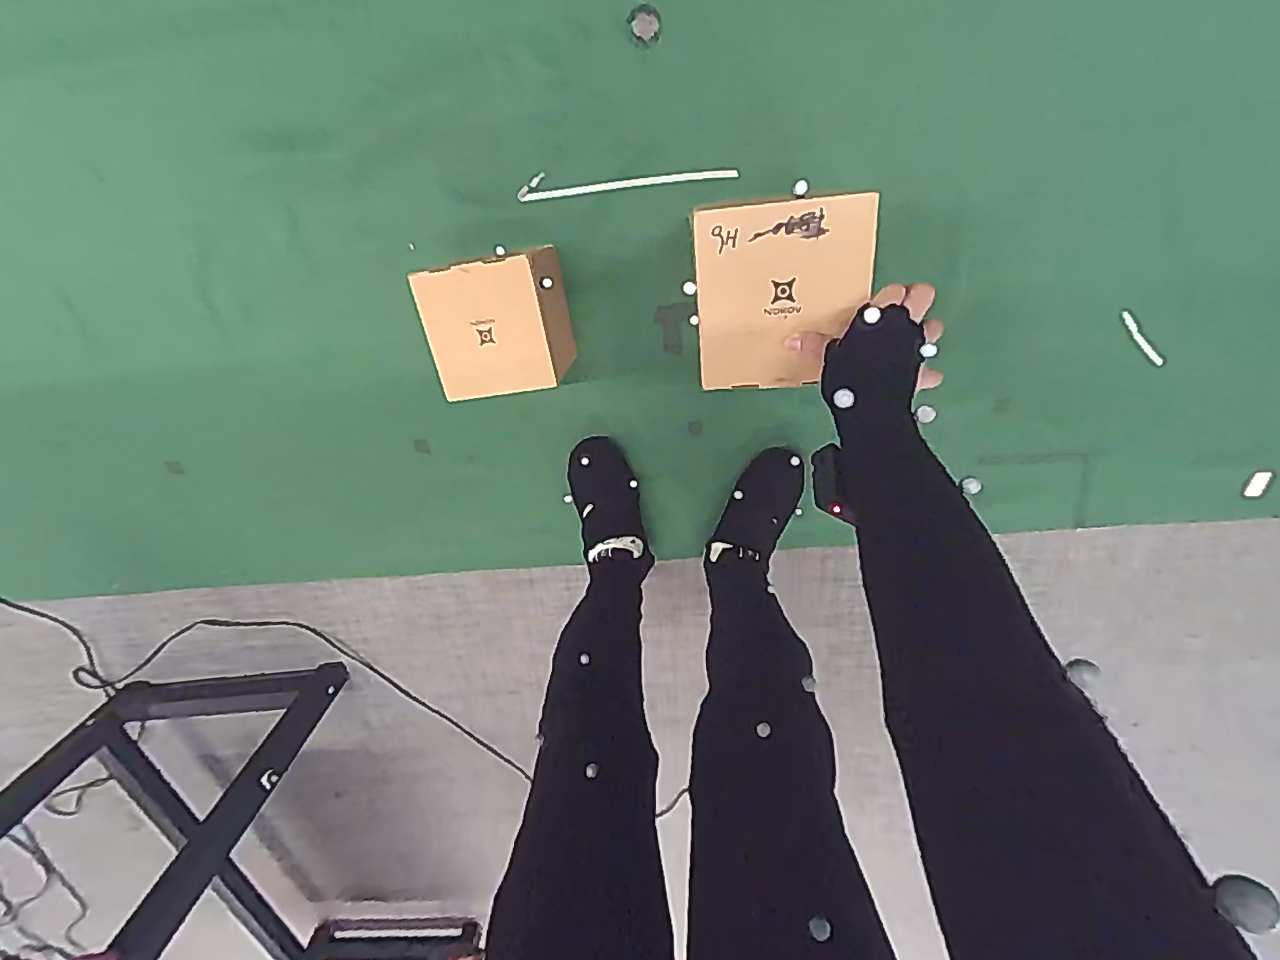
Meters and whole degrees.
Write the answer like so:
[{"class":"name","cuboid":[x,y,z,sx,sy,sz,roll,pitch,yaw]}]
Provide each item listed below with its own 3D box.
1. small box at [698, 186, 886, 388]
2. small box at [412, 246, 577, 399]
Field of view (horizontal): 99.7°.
[{"class":"small box","cuboid":[0.150,-0.214,0.590,0.168,0.176,0.179,-2,119,7]},{"class":"small box","cuboid":[-0.197,-0.235,0.793,0.168,0.176,0.179,-6,115,7]}]
